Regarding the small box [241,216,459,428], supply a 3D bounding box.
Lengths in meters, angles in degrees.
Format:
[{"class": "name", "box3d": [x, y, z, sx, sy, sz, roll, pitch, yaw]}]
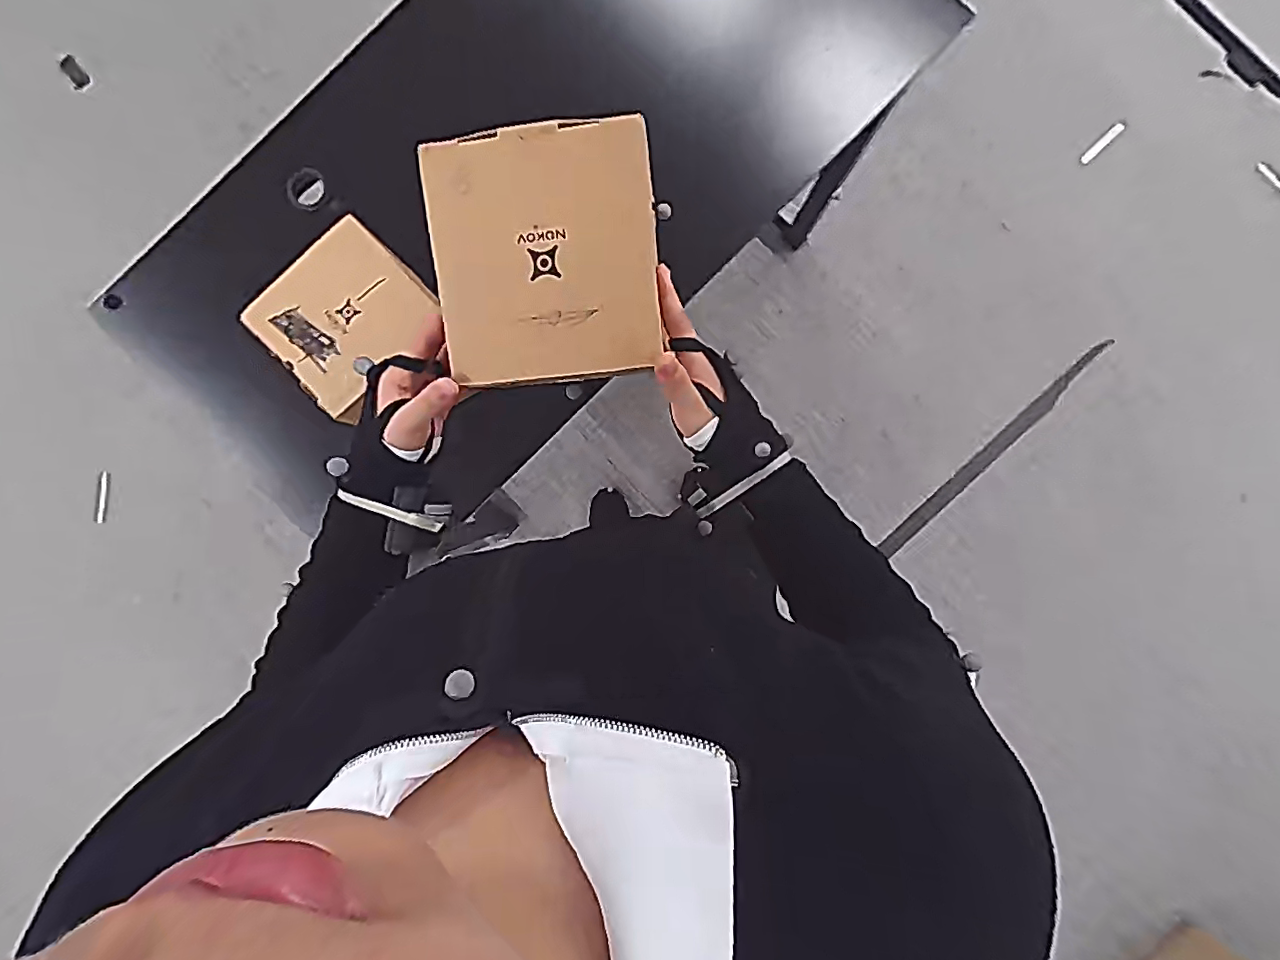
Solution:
[{"class": "small box", "box3d": [-0.342, -0.186, 0.699, 0.179, 0.176, 0.168, -43, 89, -1]}]

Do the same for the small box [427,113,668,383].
[{"class": "small box", "box3d": [-0.063, -0.180, 0.476, 0.168, 0.176, 0.179, -4, 100, 5]}]
